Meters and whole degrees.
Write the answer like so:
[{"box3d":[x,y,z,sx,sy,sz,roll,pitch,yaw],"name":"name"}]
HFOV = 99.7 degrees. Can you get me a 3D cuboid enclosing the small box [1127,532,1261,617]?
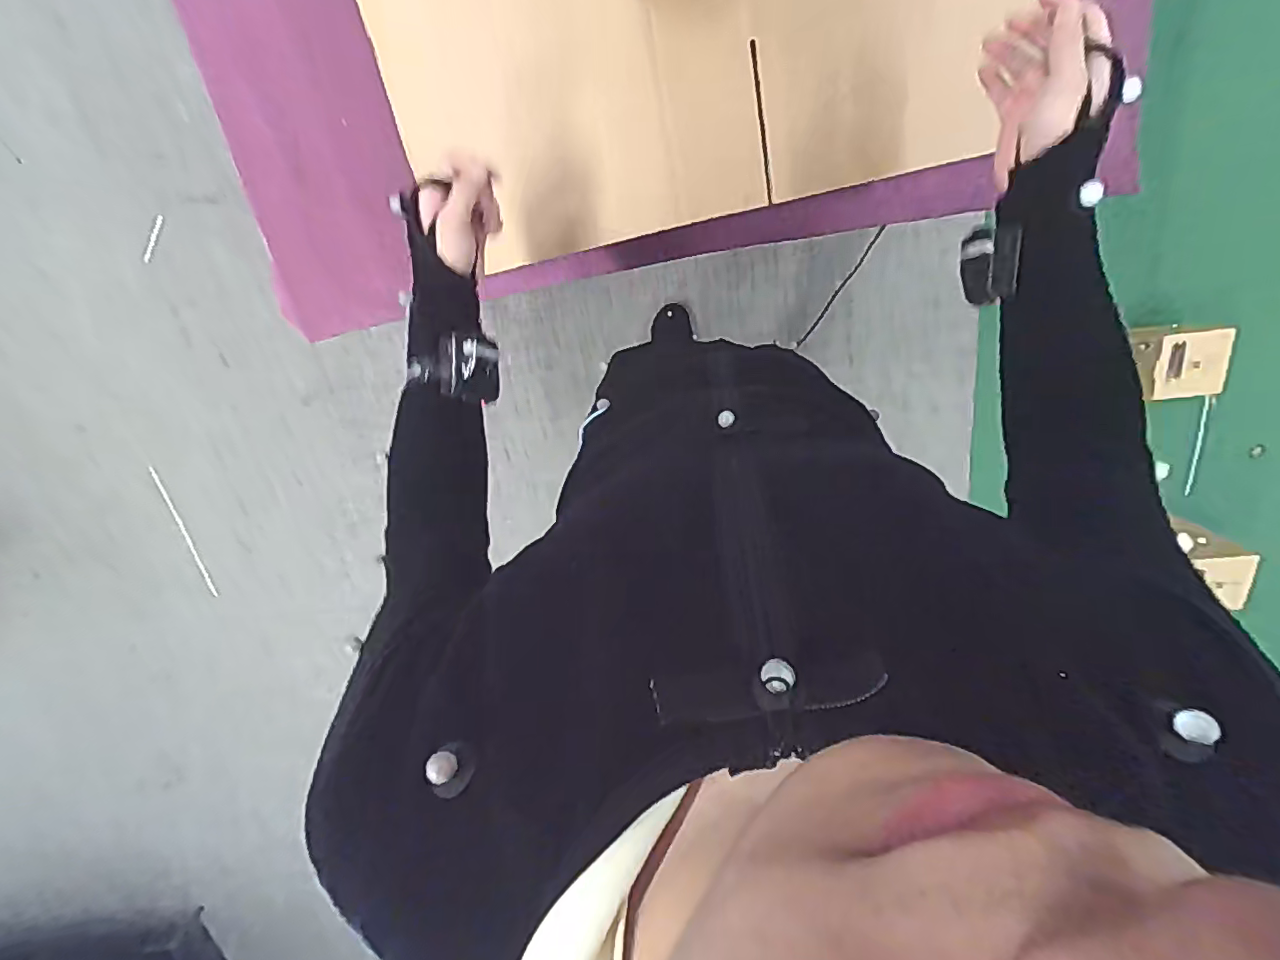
[{"box3d":[1.480,0.251,1.460,0.179,0.176,0.168,-5,111,3],"name":"small box"}]
